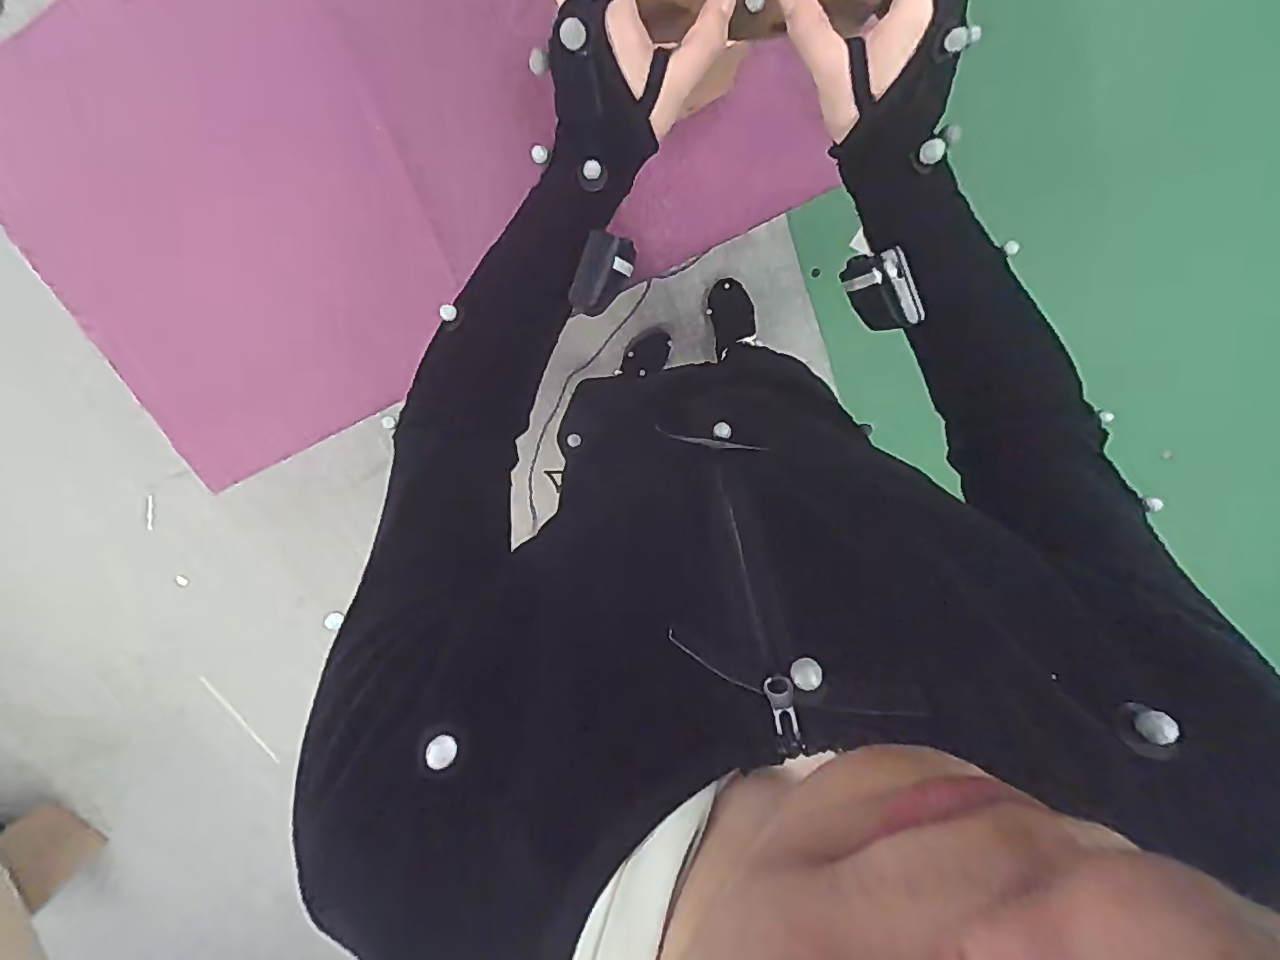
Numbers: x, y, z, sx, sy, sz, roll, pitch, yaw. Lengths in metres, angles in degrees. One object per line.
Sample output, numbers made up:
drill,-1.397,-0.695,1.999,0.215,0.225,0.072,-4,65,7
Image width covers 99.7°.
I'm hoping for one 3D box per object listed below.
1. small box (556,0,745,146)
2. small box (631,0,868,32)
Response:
small box,0.004,-0.523,0.615,0.168,0.176,0.179,-23,107,12
small box,0.071,-0.378,0.291,0.168,0.176,0.179,0,108,2
